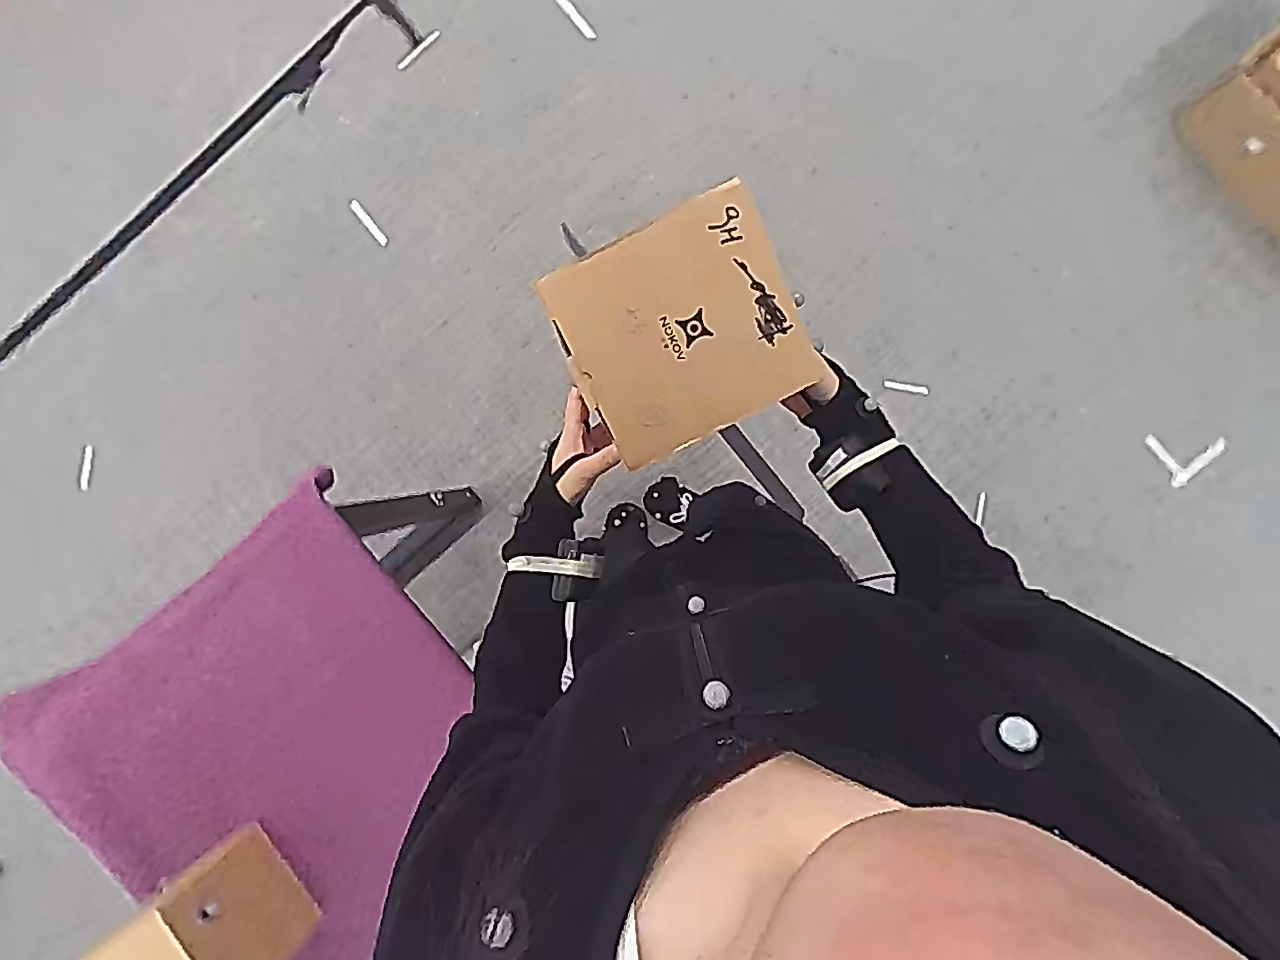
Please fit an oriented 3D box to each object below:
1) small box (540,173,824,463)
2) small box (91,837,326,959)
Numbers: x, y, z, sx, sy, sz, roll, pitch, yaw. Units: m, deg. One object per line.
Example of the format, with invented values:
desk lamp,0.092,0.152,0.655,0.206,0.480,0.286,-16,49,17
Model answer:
small box,0.034,-0.135,0.491,0.179,0.176,0.168,-24,103,5
small box,-0.580,0.630,0.731,0.168,0.176,0.179,-37,90,2
